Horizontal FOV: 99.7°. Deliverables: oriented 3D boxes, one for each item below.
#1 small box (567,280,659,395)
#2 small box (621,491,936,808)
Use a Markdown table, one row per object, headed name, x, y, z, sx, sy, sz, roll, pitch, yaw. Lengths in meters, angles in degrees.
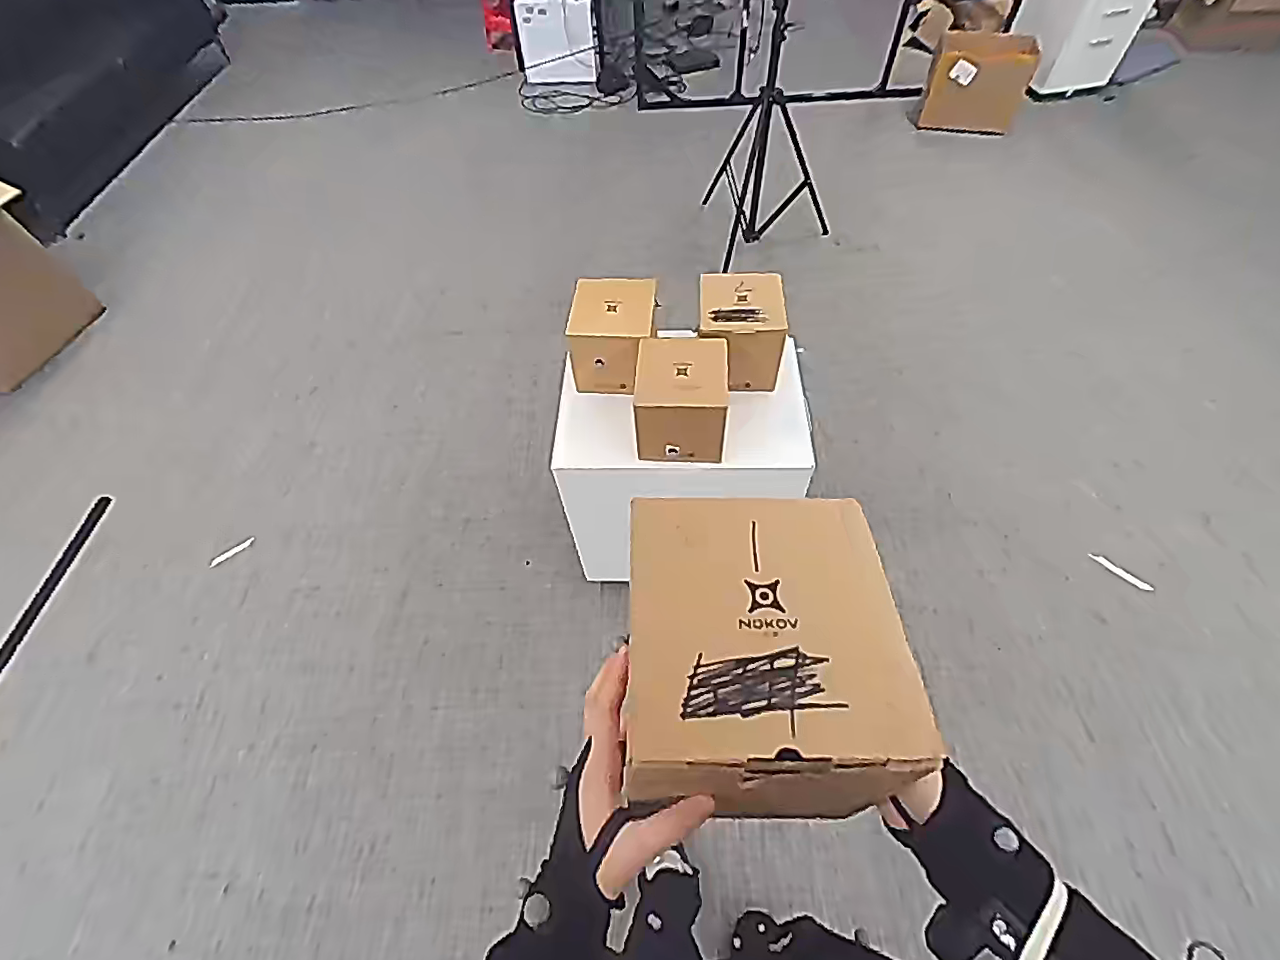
| name | x | y | z | sx | sy | sz | roll | pitch | yaw |
| --- | --- | --- | --- | --- | --- | --- | --- | --- | --- |
| small box | -0.048 | -0.296 | 1.139 | 0.168 | 0.176 | 0.179 | 3 | 56 | 5 |
| small box | 0.072 | 0.126 | 0.391 | 0.168 | 0.176 | 0.179 | 0 | 49 | -1 |
